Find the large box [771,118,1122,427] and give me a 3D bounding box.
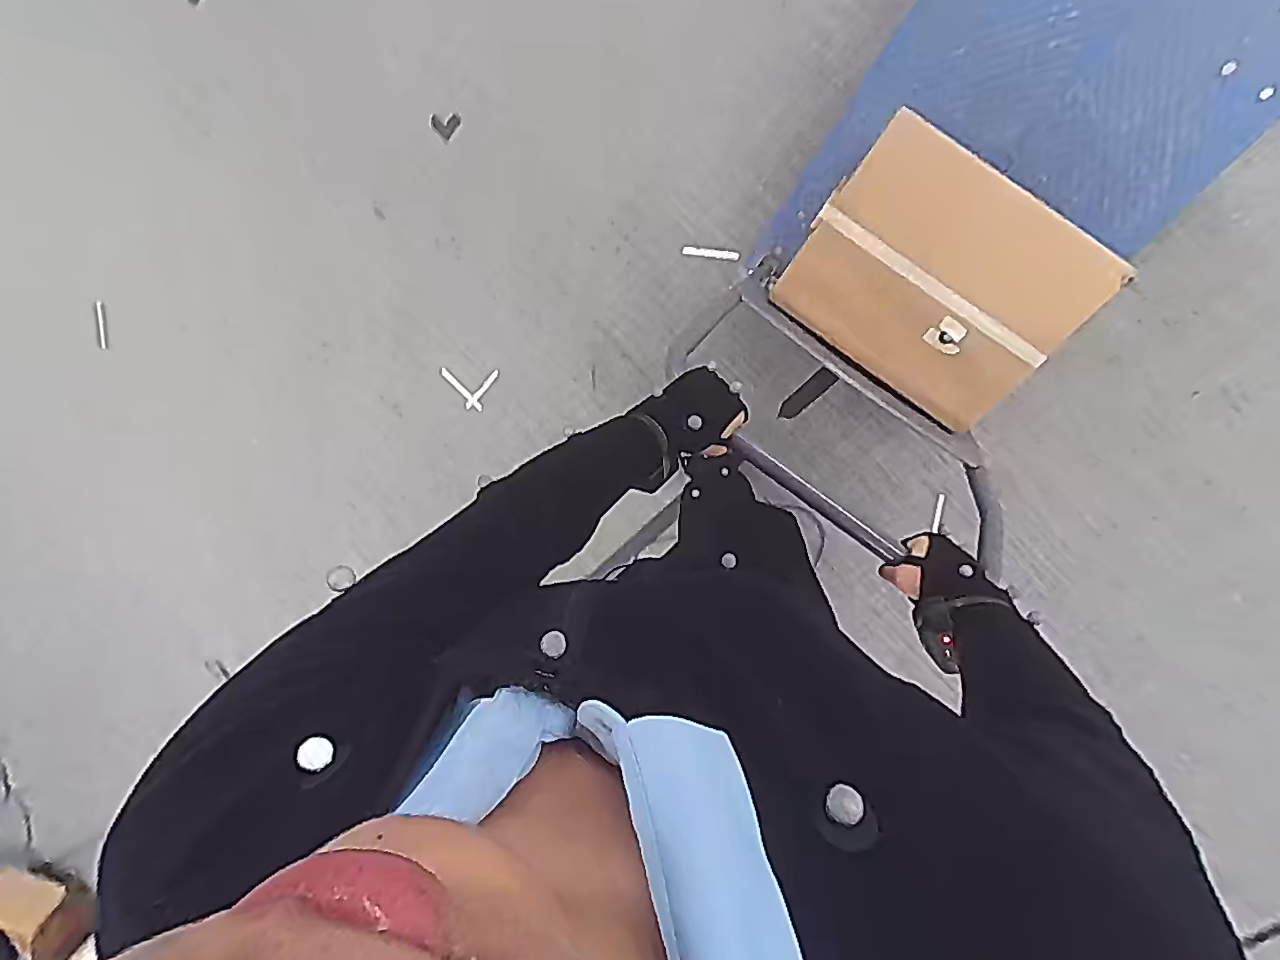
[{"bbox_3d":[0.502,-0.369,0.983,0.408,0.320,0.320,36,122,1],"label":"large box"}]
